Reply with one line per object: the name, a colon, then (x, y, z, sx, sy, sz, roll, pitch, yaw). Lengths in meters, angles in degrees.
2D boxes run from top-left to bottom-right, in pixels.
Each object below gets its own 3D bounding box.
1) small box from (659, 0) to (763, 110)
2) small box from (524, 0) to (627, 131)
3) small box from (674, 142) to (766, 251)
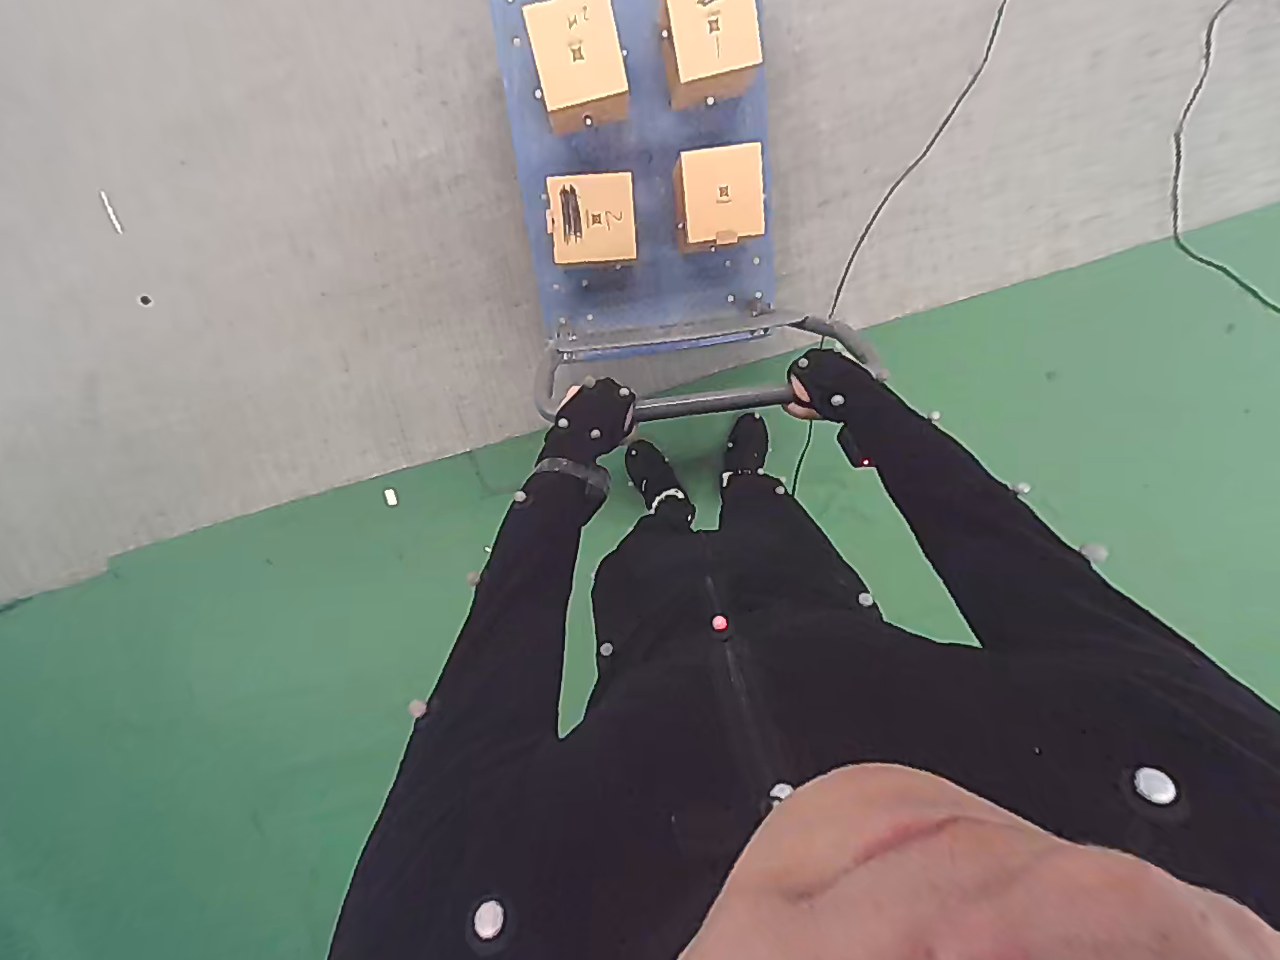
small box: (0.138, -0.895, 1.101, 0.168, 0.176, 0.179, -12, 108, 2)
small box: (-0.123, -0.842, 1.104, 0.168, 0.176, 0.179, -14, 107, 1)
small box: (0.171, -0.615, 1.191, 0.168, 0.176, 0.179, -8, 108, 0)
